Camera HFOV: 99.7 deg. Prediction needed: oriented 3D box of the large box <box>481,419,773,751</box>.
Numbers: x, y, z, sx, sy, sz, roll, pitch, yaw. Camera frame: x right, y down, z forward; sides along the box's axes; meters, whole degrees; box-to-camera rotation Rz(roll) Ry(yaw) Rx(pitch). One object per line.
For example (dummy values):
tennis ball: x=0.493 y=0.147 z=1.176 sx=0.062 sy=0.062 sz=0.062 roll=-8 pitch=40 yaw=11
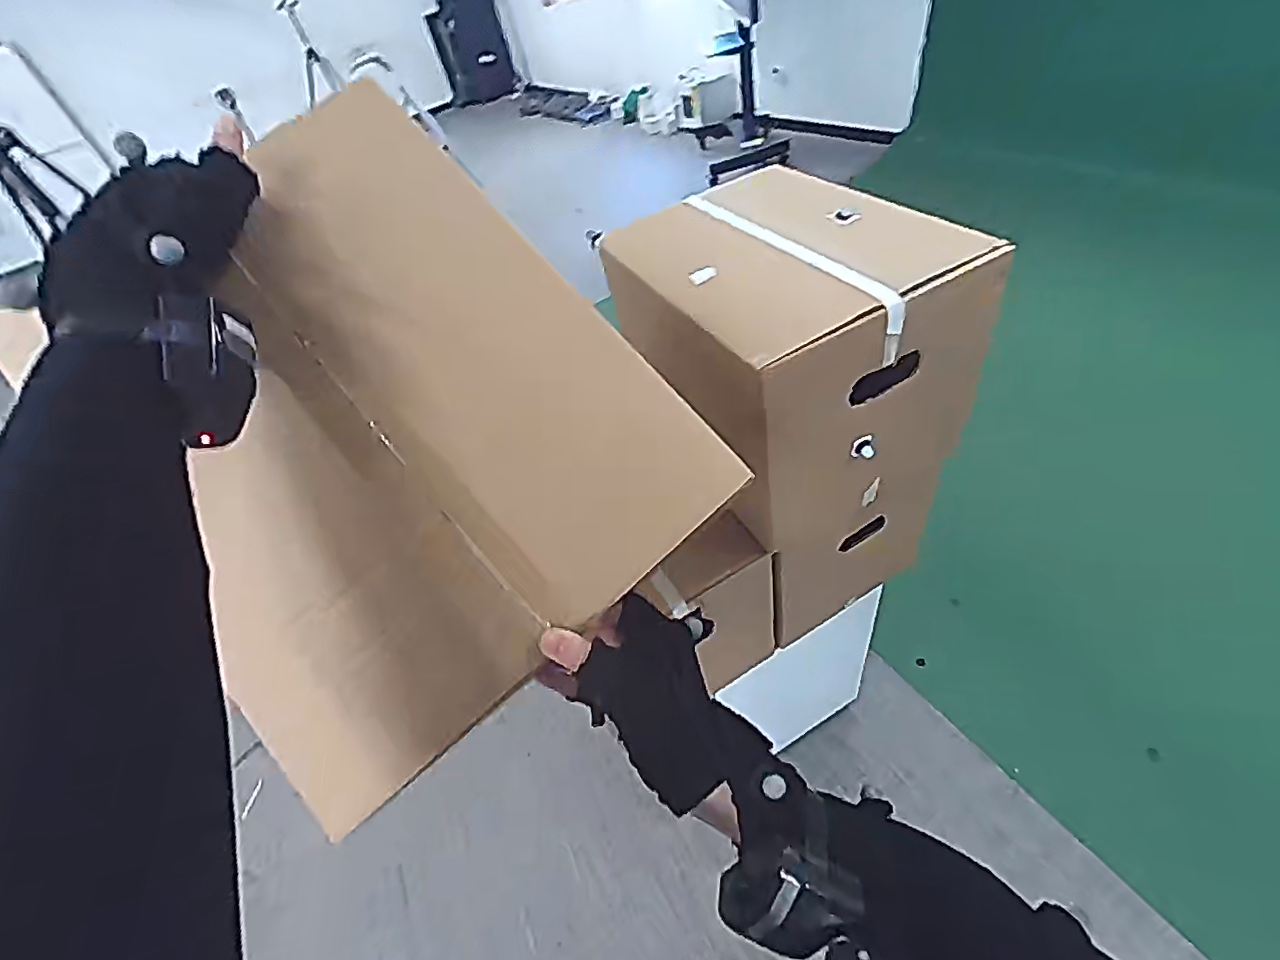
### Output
large box: x=-0.020 y=0.166 z=0.941 sx=0.320 sy=0.320 sz=0.408 roll=-29 pitch=45 yaw=-13
